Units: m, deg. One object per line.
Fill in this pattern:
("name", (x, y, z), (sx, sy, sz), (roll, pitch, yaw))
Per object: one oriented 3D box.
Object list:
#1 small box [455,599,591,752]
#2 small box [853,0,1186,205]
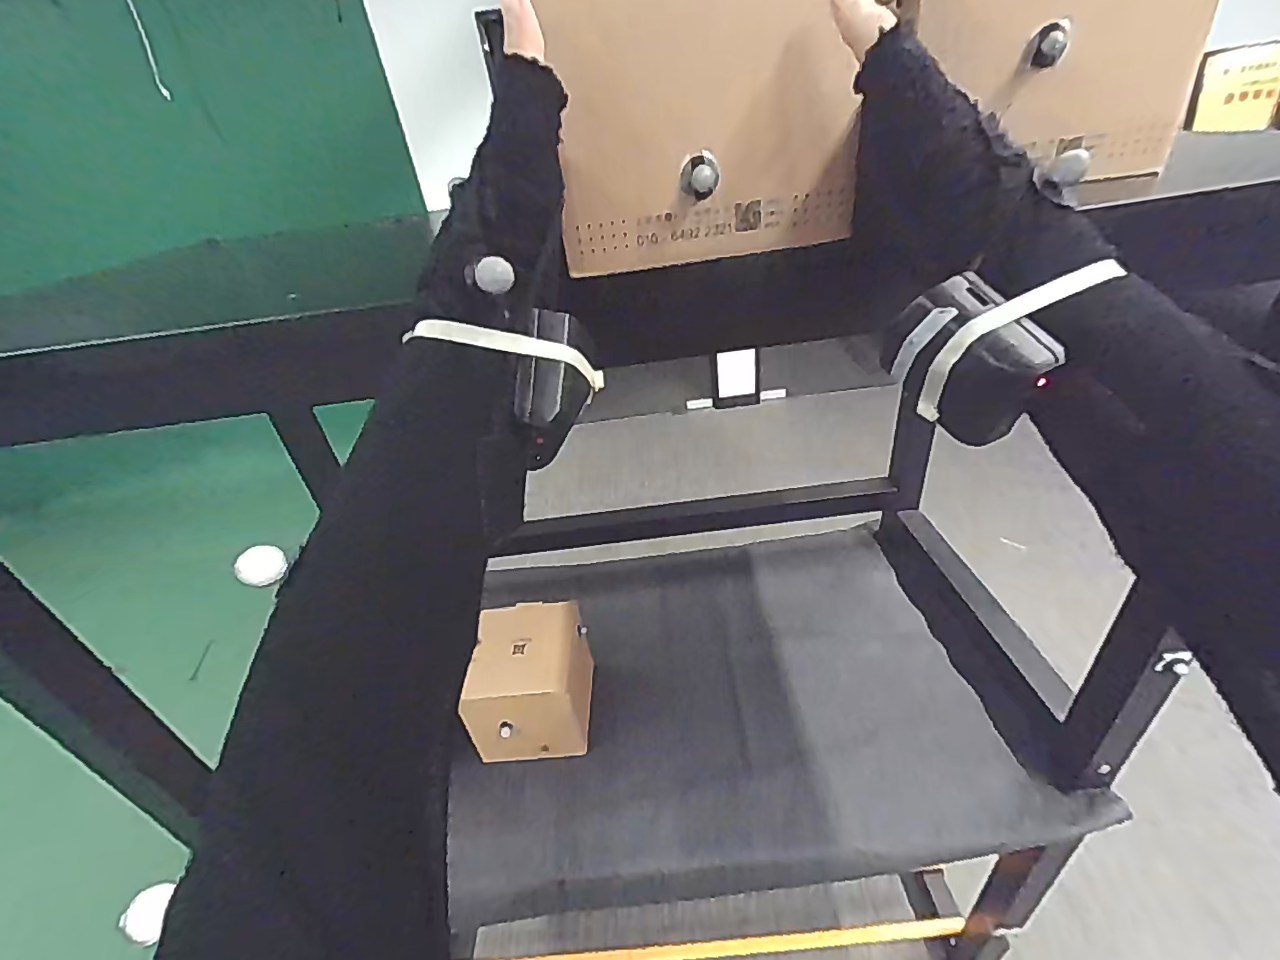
("small box", (-0.177, 0.322, 0.882), (0.168, 0.176, 0.179), (-6, 32, 3))
("small box", (0.265, -0.314, 0.410), (0.168, 0.176, 0.179), (-1, 33, 11))
